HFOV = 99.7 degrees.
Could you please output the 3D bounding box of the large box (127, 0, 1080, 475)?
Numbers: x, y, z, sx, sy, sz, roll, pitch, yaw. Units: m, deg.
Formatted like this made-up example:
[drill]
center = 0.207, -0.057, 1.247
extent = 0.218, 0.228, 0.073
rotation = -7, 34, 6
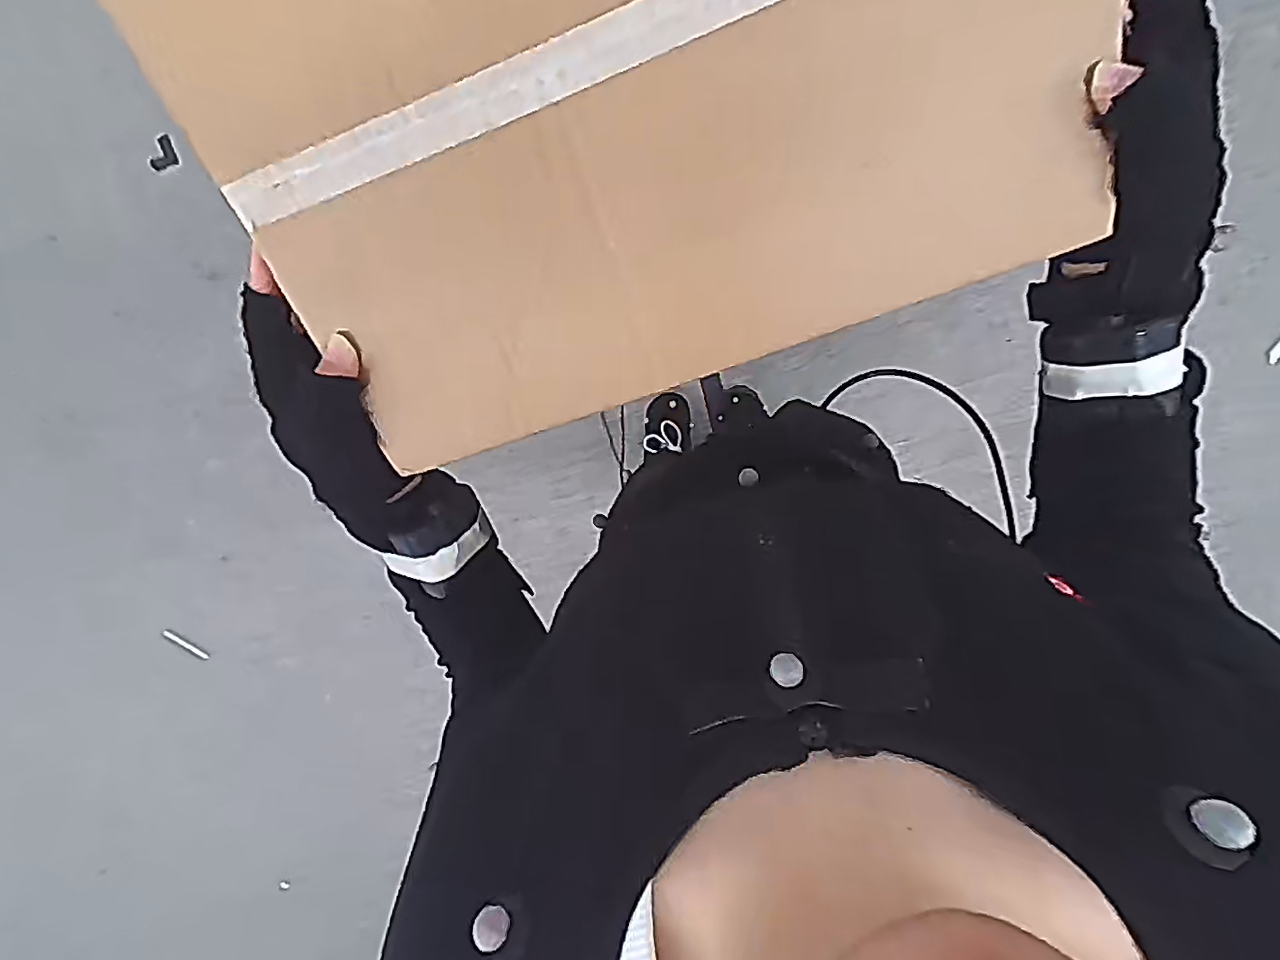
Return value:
[large box]
center = -0.007, -0.258, 0.381
extent = 0.408, 0.320, 0.320
rotation = -18, 114, 8
